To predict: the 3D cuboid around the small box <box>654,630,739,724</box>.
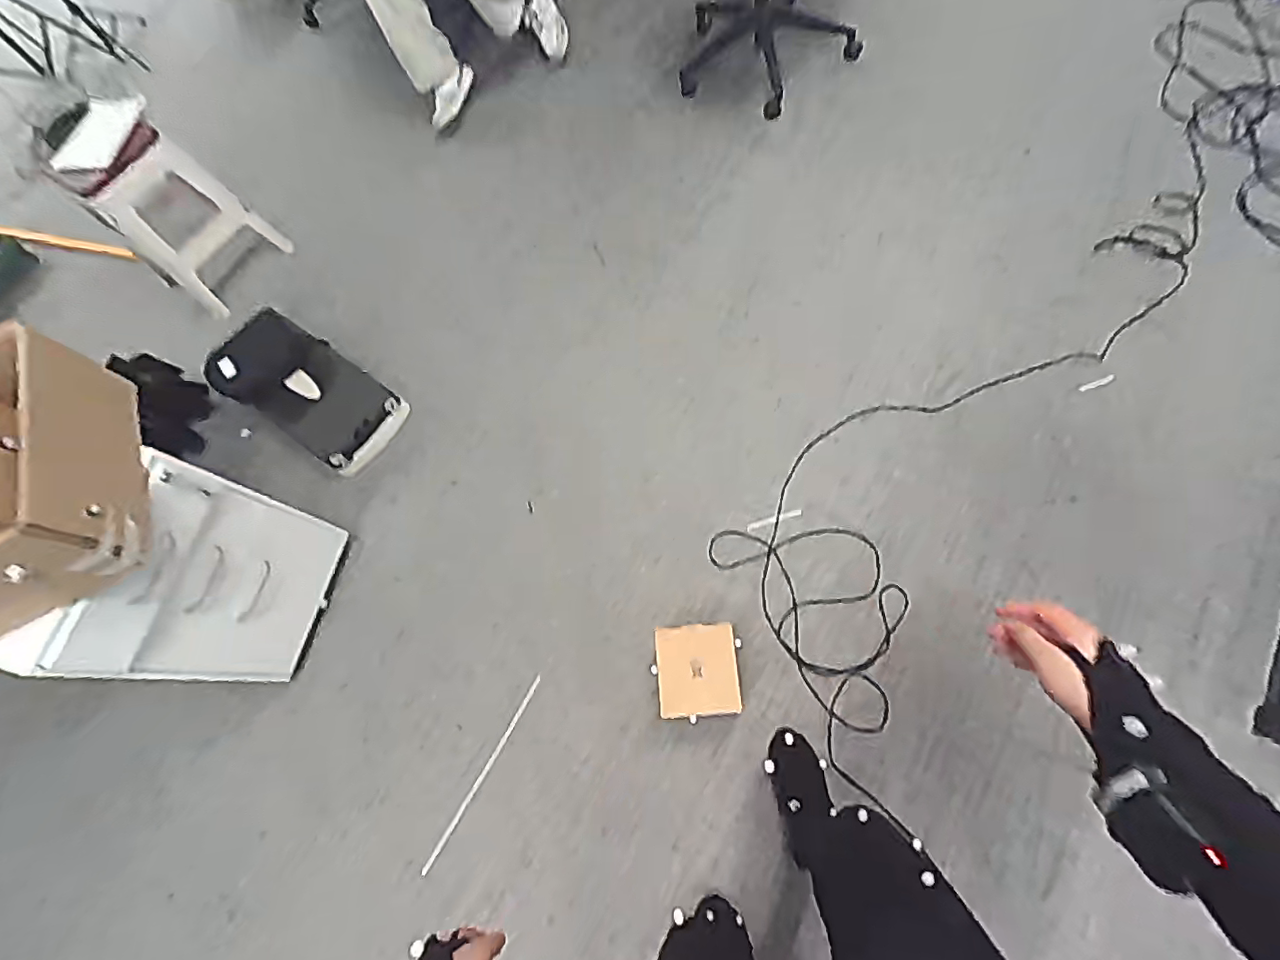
[{"bbox_3d":[0.127,0.433,1.190,0.168,0.176,0.179,-7,67,6],"label":"small box"}]
